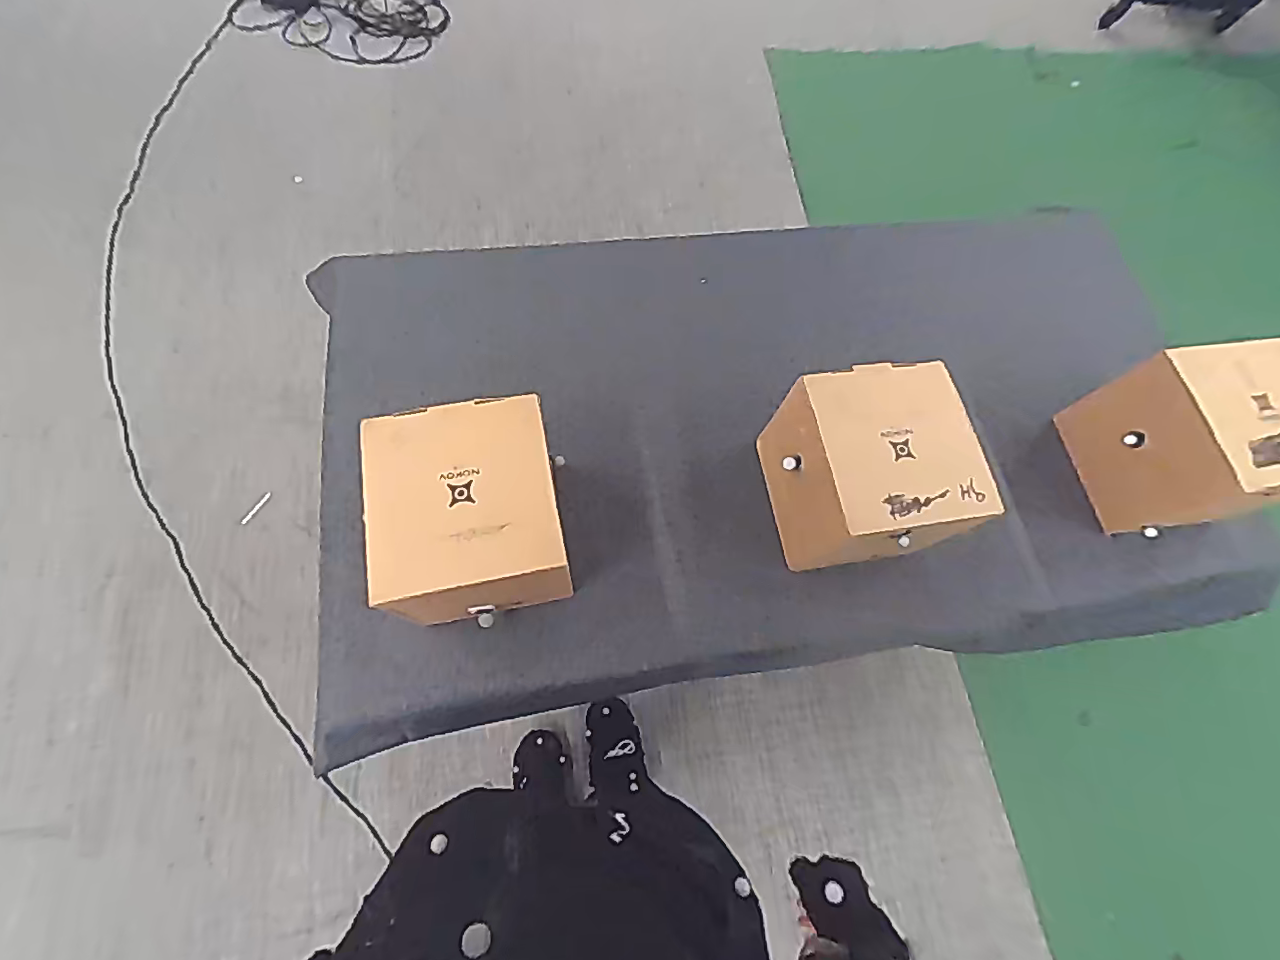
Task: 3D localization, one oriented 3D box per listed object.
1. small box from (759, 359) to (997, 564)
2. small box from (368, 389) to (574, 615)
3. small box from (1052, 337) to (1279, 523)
[{"bbox_3d":[0.251,-0.015,0.622,0.168,0.176,0.179,-7,70,-7],"label":"small box"},{"bbox_3d":[-0.165,0.031,0.564,0.168,0.176,0.179,-11,71,-8],"label":"small box"},{"bbox_3d":[0.674,-0.051,0.671,0.168,0.176,0.179,-6,69,-7],"label":"small box"}]
